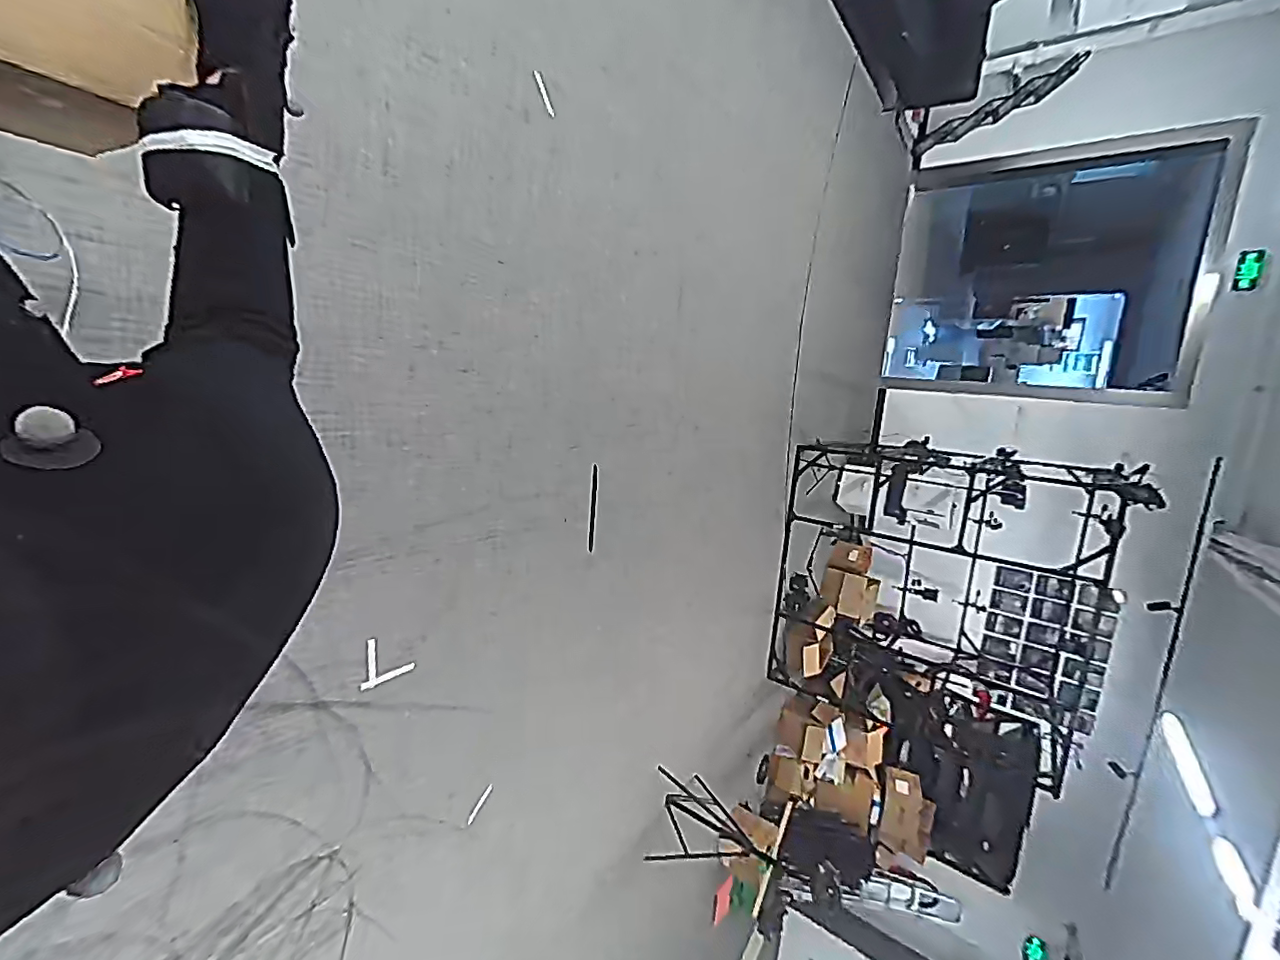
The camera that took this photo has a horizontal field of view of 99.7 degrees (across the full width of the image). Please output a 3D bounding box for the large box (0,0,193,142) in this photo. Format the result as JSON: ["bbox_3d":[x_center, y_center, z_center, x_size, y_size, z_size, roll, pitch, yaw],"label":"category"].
[{"bbox_3d":[-0.540,-0.437,0.286,0.408,0.320,0.320,-7,112,-55],"label":"large box"}]
